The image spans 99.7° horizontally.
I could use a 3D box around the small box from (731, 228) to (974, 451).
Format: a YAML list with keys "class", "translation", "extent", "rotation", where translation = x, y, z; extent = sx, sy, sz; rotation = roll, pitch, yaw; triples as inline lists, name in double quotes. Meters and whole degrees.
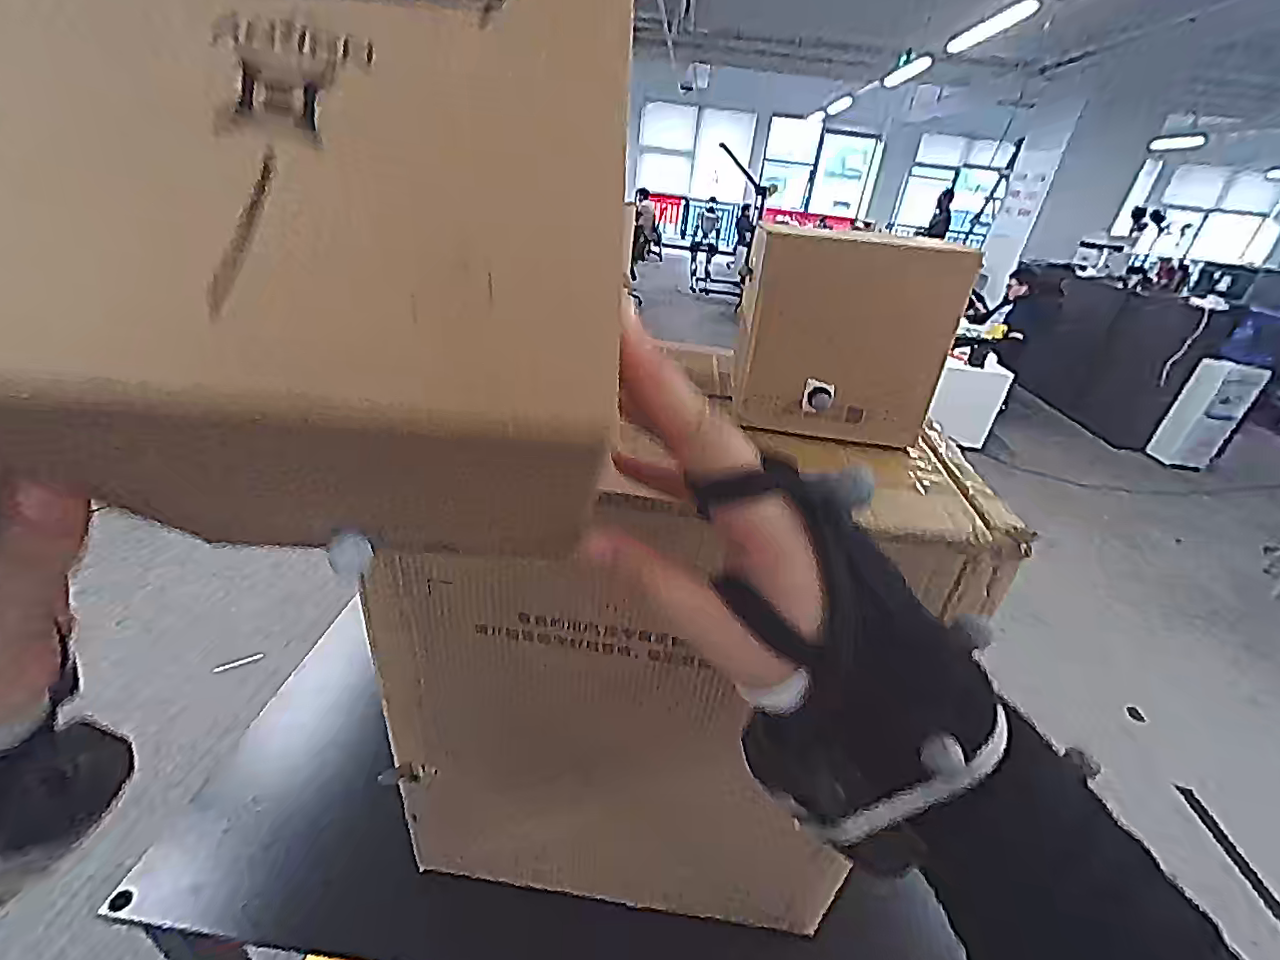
- class: "small box"
  translation: [0.184, -0.146, 0.536]
  extent: [0.168, 0.176, 0.179]
  rotation: [7, 29, 5]

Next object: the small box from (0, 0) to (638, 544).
- class: "small box"
  translation: [-0.097, -0.083, 0.219]
  extent: [0.168, 0.176, 0.179]
  rotation: [4, 70, -9]
